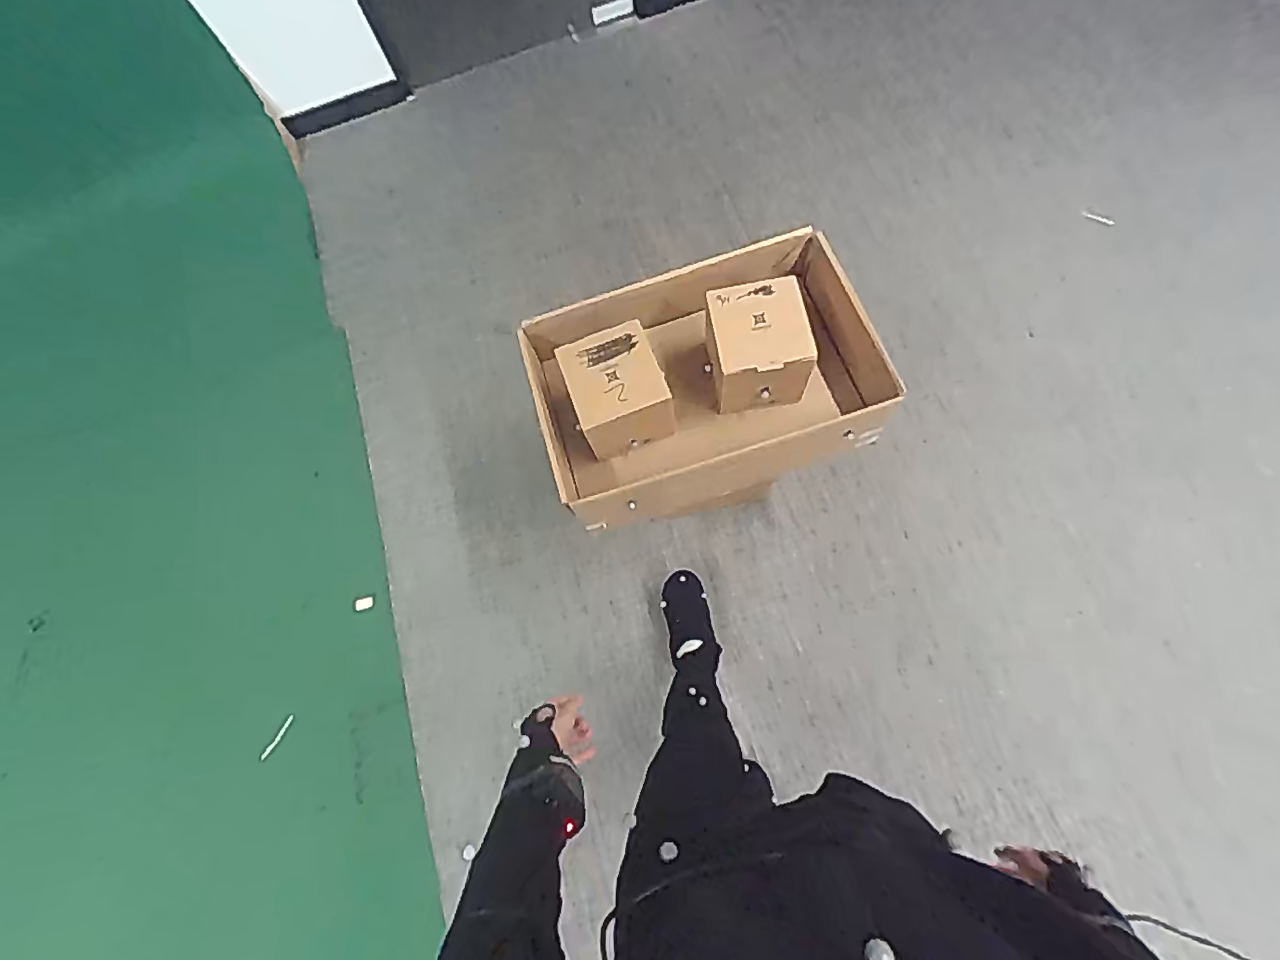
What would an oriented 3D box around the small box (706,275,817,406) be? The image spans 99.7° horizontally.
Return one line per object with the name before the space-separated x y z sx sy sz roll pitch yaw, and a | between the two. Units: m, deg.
small box | 0.218 -0.251 1.019 0.168 0.176 0.179 -8 72 2
